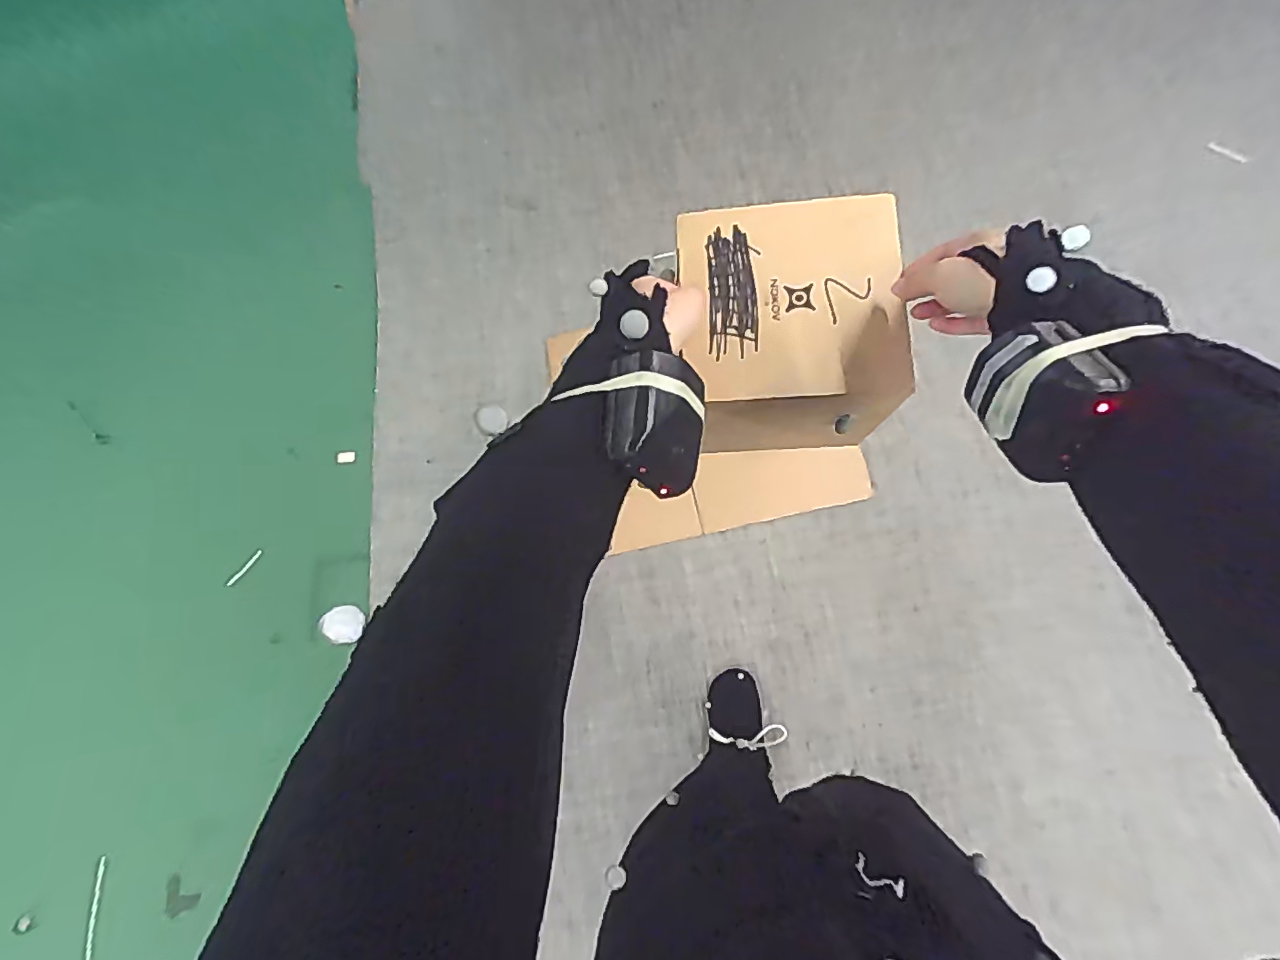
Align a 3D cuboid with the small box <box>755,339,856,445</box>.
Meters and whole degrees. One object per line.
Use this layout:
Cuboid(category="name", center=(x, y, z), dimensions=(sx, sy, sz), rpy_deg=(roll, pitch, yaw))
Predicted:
Cuboid(category="small box", center=(0.365, -0.192, 1.229), dimensions=(0.179, 0.176, 0.168), rpy_deg=(-11, 73, 3))
